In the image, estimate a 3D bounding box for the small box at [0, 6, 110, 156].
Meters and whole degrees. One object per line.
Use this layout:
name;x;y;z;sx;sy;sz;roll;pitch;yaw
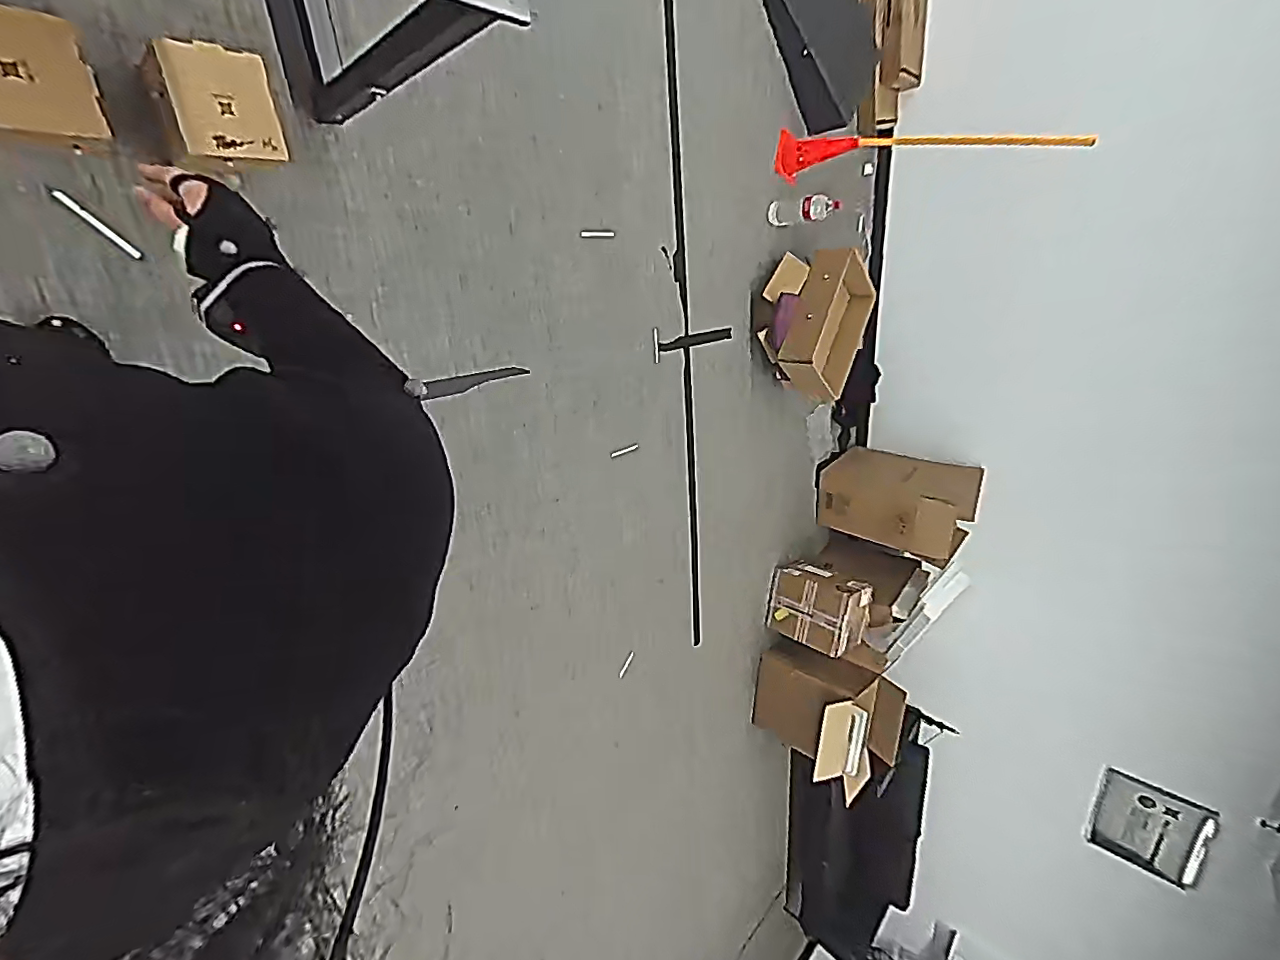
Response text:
small box;-0.998;-0.631;0.862;0.179;0.176;0.168;-23;117;-41

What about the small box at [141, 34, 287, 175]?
small box;-0.816;-0.704;1.037;0.168;0.176;0.179;-24;118;-41
